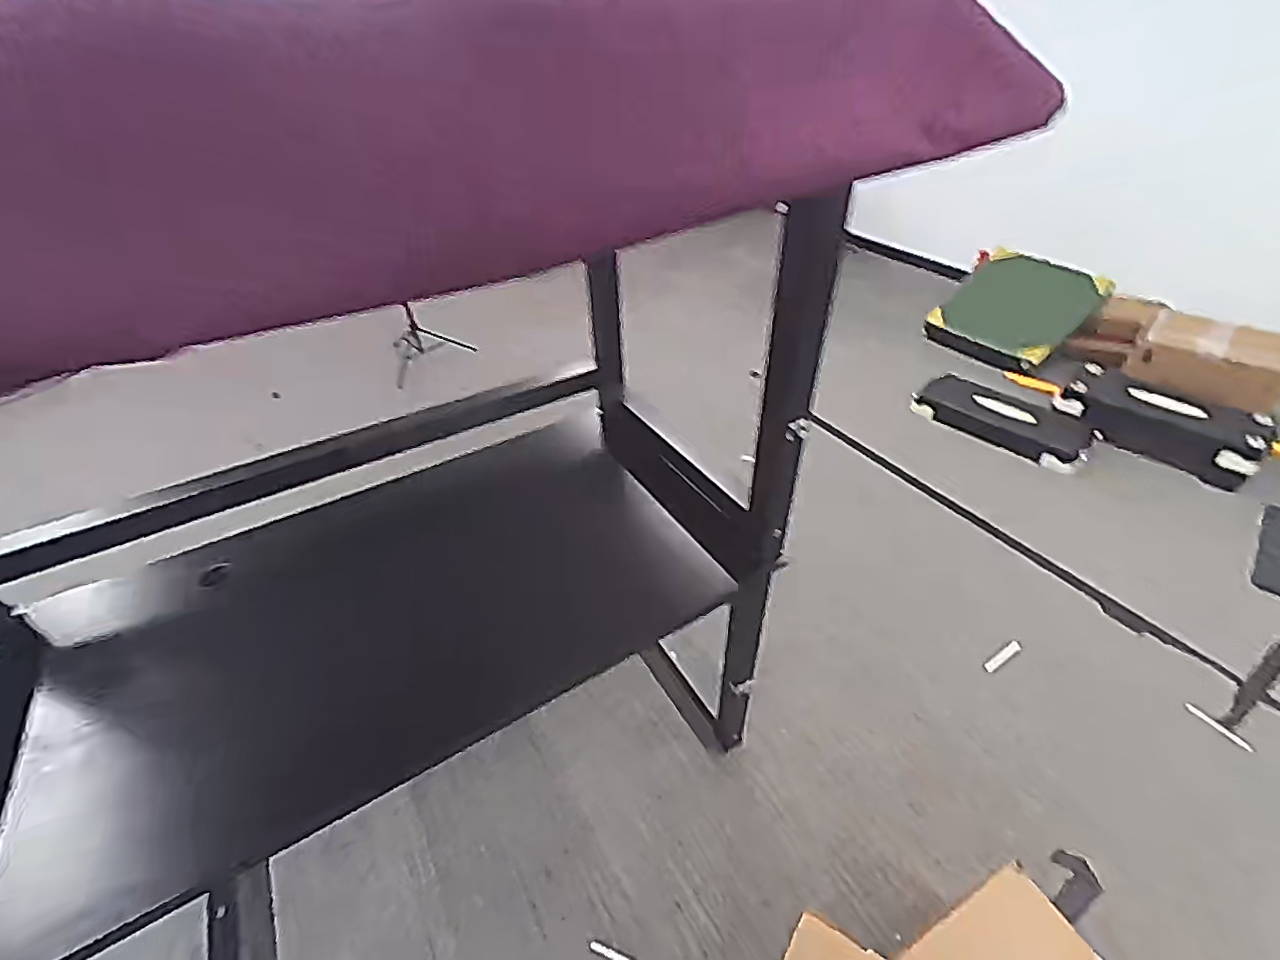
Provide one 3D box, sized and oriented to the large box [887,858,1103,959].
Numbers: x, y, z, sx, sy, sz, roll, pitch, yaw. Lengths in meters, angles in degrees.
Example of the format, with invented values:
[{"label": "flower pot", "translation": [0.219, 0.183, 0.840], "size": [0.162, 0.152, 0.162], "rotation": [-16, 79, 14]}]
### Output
[{"label": "large box", "translation": [0.556, 0.930, 0.881], "size": [0.408, 0.320, 0.320], "rotation": [-20, 45, -20]}]
